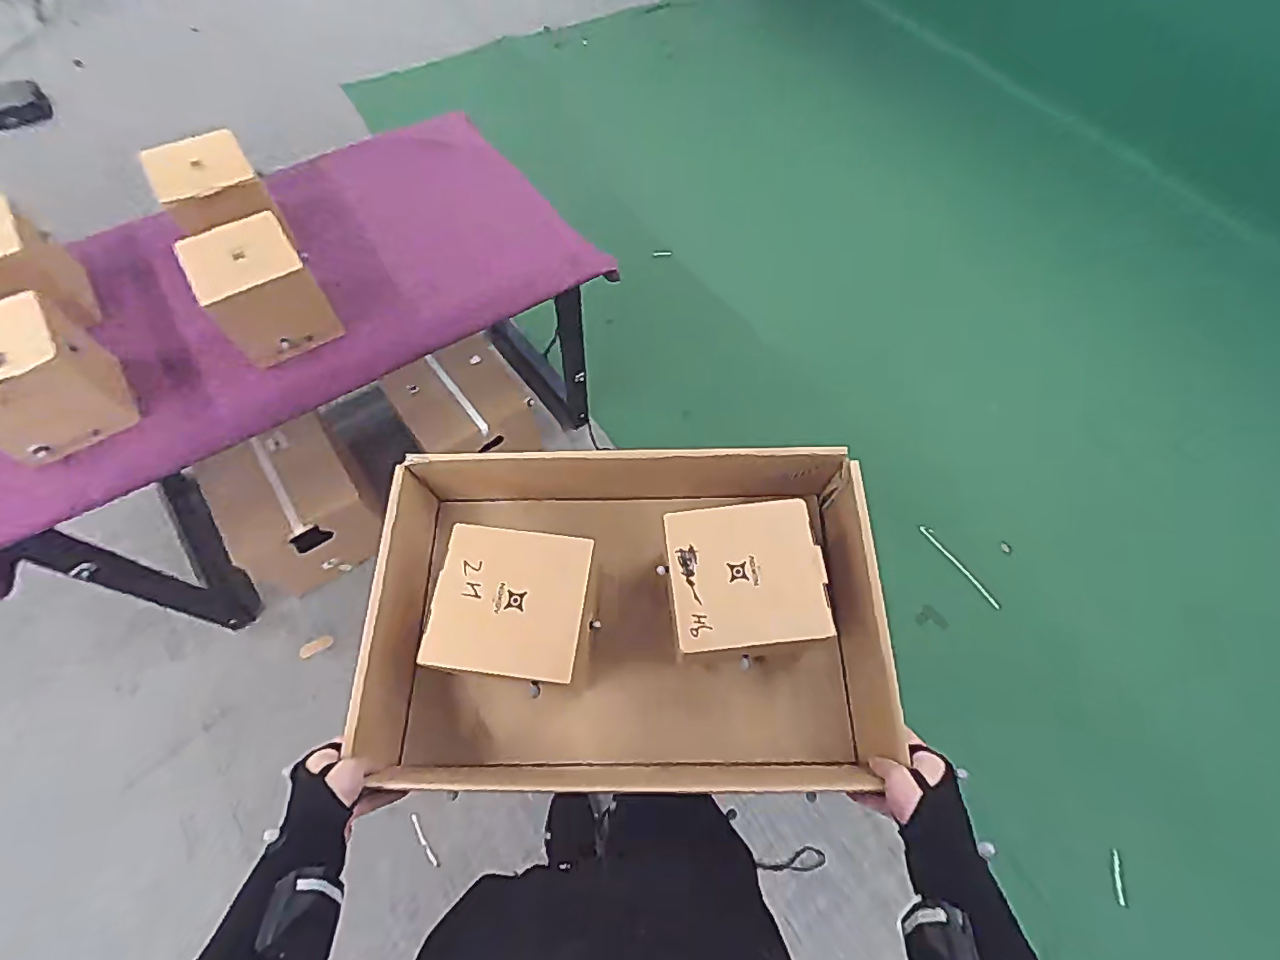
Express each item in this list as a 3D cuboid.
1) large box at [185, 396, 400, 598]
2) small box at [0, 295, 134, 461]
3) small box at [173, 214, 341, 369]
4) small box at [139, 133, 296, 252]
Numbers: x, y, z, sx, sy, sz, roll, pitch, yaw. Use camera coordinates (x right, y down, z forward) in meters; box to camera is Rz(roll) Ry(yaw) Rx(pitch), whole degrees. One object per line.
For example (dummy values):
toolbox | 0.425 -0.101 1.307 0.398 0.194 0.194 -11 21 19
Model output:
large box | -0.947 0.054 1.511 0.320 0.320 0.408 -32 68 -18
small box | -0.976 -0.154 0.870 0.168 0.176 0.179 -33 67 -18
small box | -0.684 -0.337 0.981 0.168 0.176 0.179 -31 68 -16
small box | -0.834 -0.545 1.081 0.168 0.176 0.179 -30 70 -17
